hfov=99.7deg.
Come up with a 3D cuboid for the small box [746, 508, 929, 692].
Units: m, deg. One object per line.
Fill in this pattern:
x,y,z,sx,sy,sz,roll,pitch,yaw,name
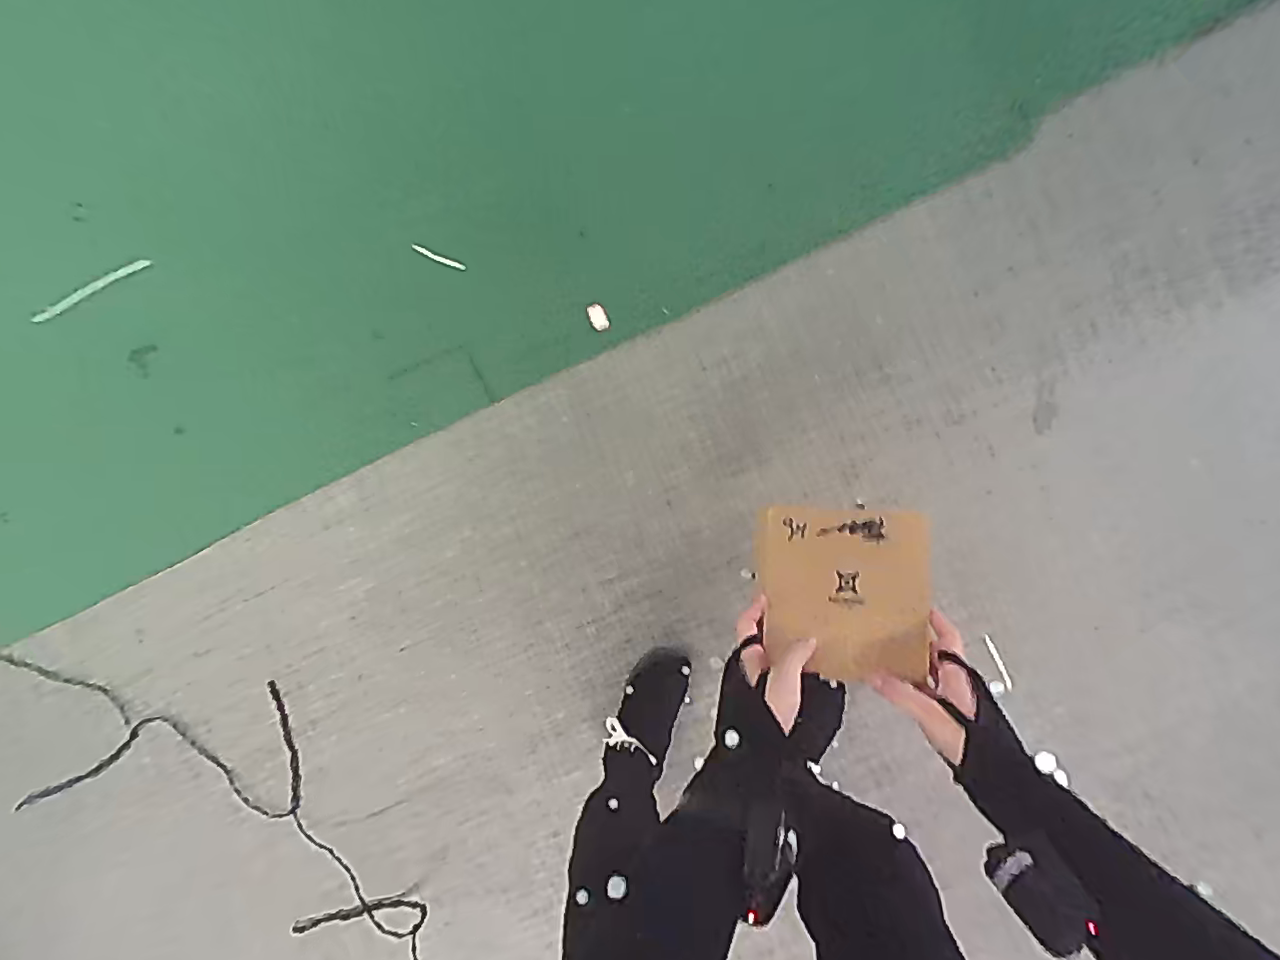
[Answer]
0.214,0.125,0.627,0.168,0.176,0.179,3,86,7,small box
